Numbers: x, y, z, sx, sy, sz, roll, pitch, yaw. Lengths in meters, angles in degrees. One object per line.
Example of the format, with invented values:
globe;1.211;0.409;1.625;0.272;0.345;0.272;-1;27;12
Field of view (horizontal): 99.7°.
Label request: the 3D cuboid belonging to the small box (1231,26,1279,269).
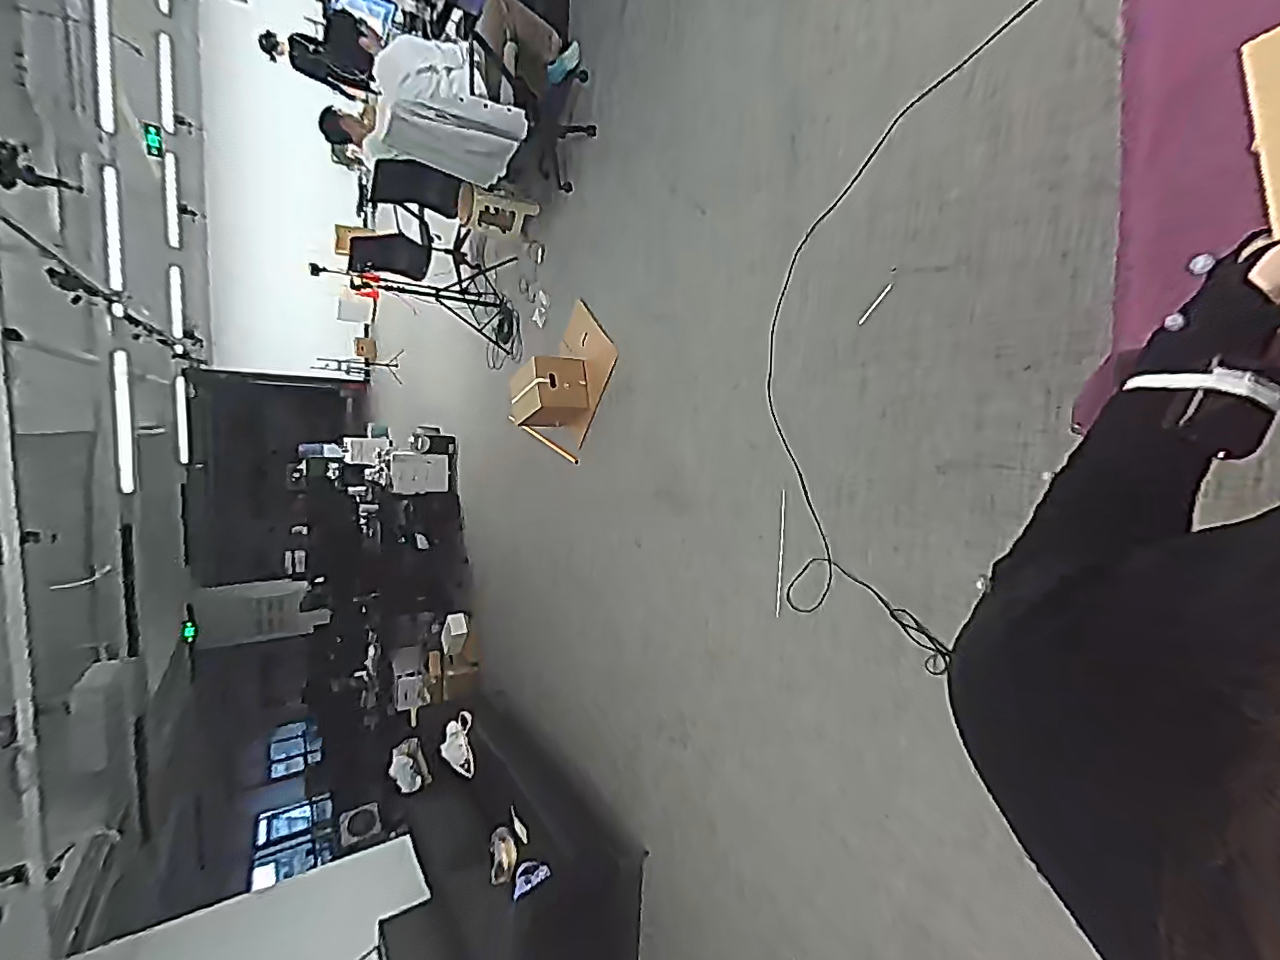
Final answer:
small box;0.557;-0.257;0.361;0.179;0.176;0.168;-7;98;61
